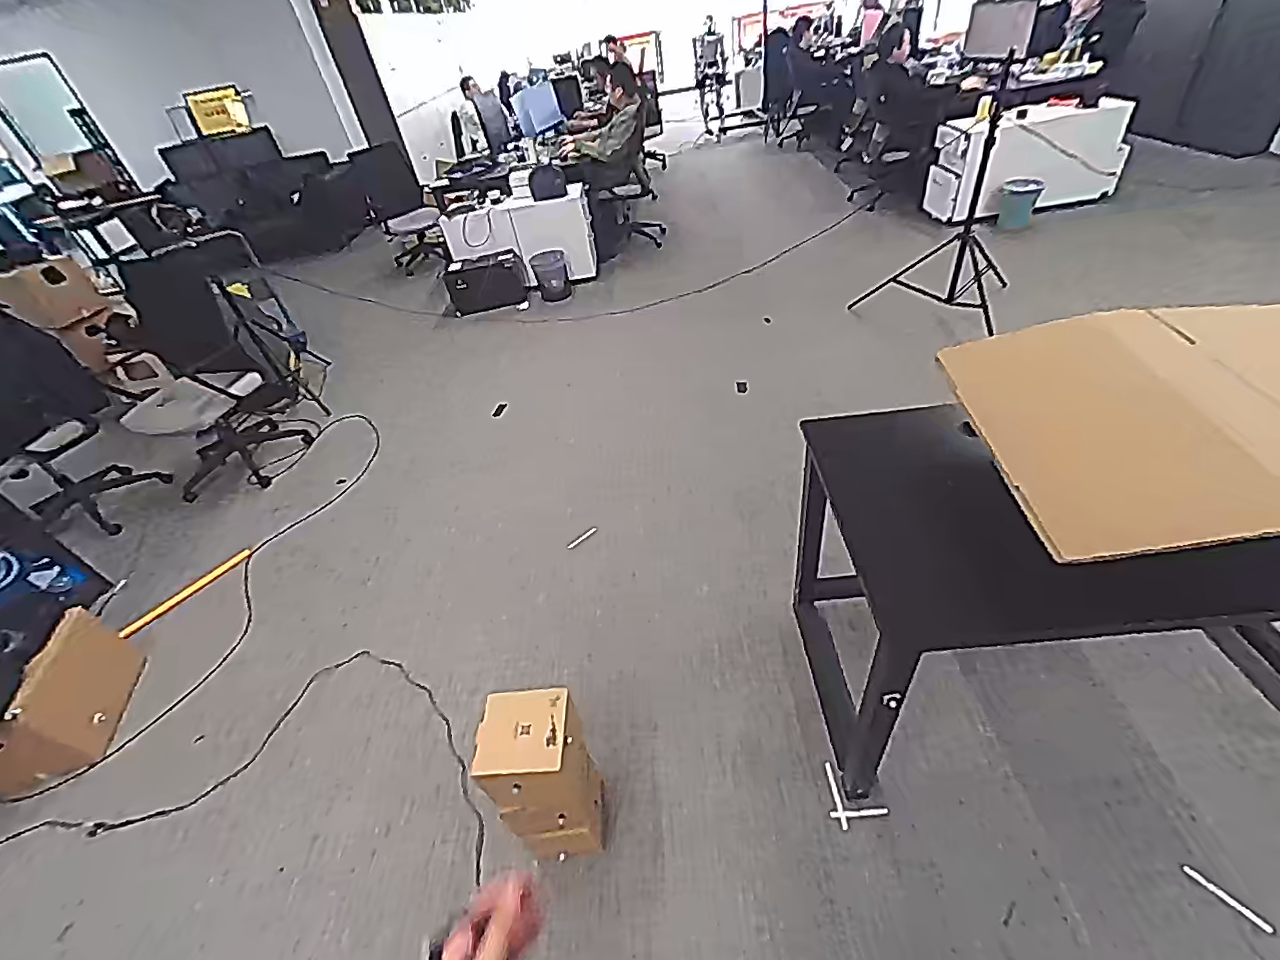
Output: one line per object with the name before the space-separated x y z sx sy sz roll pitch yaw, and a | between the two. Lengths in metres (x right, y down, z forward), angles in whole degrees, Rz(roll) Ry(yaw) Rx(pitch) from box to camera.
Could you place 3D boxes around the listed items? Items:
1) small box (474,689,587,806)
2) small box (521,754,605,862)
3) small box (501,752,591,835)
small box | -0.218 0.560 1.126 0.179 0.176 0.168 -7 40 5
small box | -0.183 0.809 1.334 0.168 0.176 0.179 -9 41 2
small box | -0.209 0.684 1.235 0.168 0.176 0.179 -11 39 -1
